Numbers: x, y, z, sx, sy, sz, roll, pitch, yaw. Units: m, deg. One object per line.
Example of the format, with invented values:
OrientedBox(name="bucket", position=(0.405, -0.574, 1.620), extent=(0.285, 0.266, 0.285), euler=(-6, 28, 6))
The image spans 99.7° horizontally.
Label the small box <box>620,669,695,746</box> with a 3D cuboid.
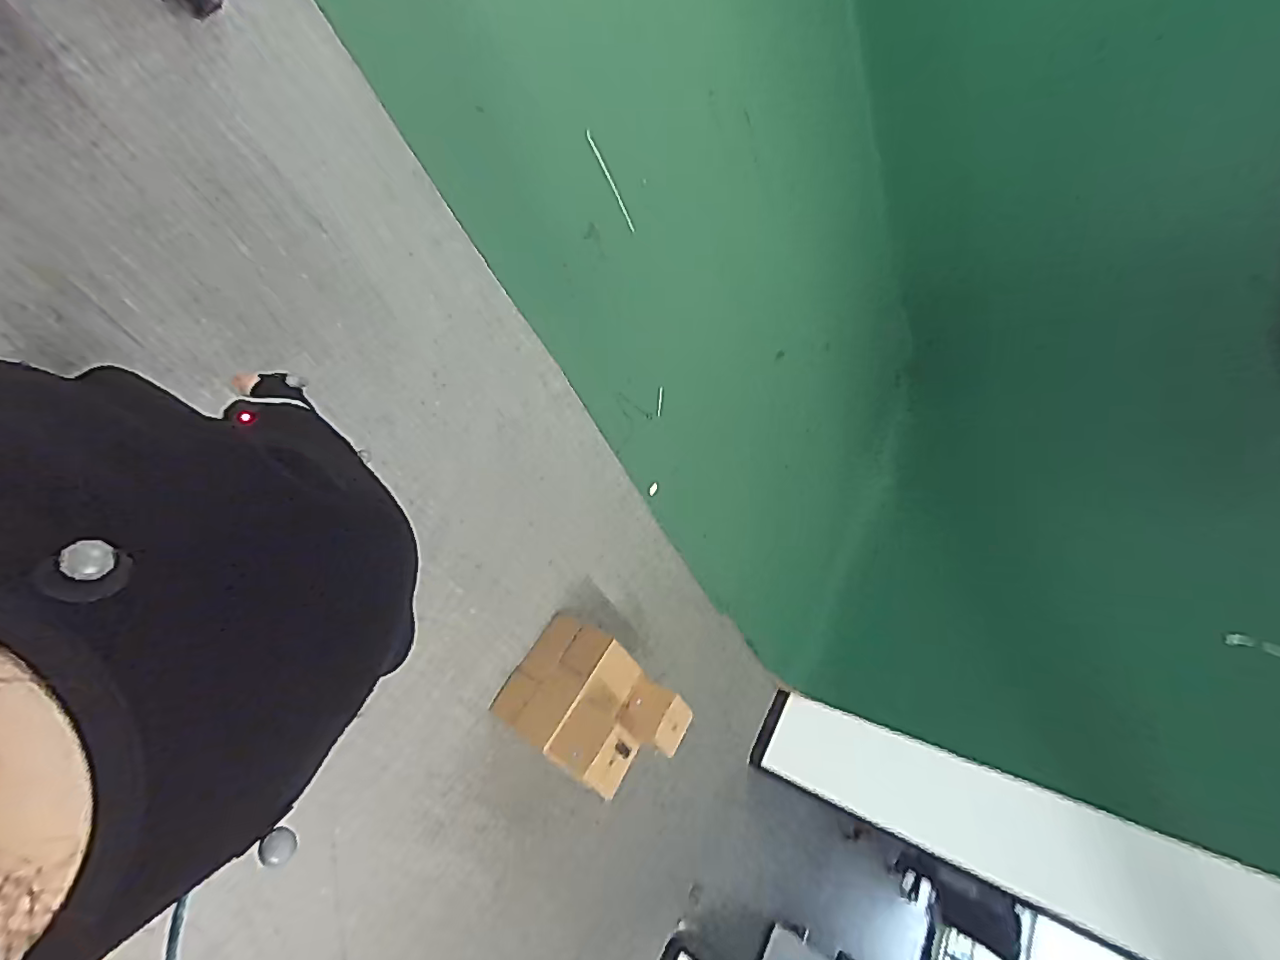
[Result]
OrientedBox(name="small box", position=(0.063, 0.791, 1.896), extent=(0.168, 0.176, 0.179), euler=(-55, 134, -28))
